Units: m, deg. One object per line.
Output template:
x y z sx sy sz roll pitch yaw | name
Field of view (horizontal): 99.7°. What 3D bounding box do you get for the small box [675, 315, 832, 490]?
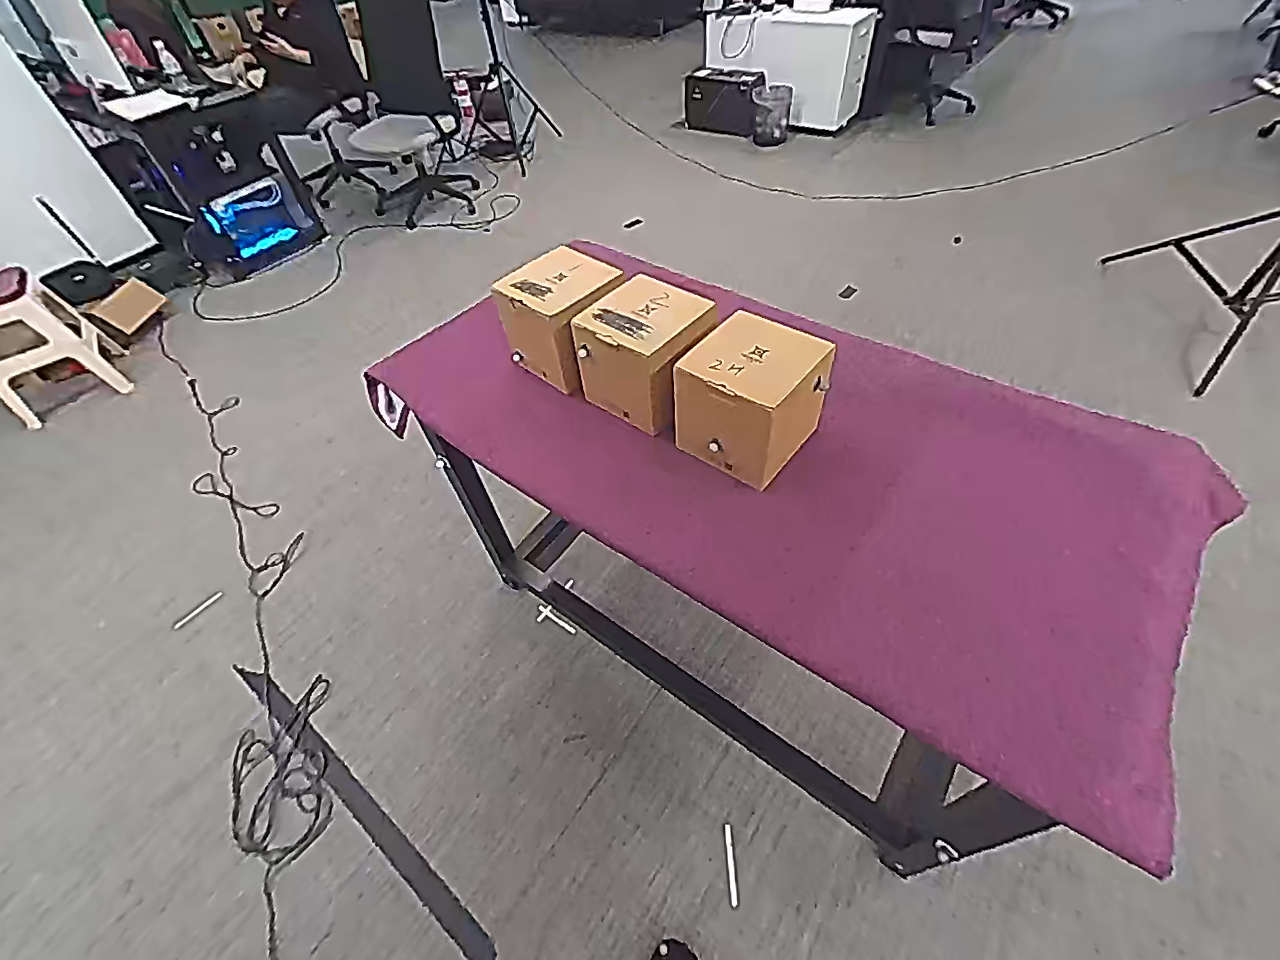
0.168 -0.120 0.836 0.168 0.176 0.179 30 58 28 | small box
